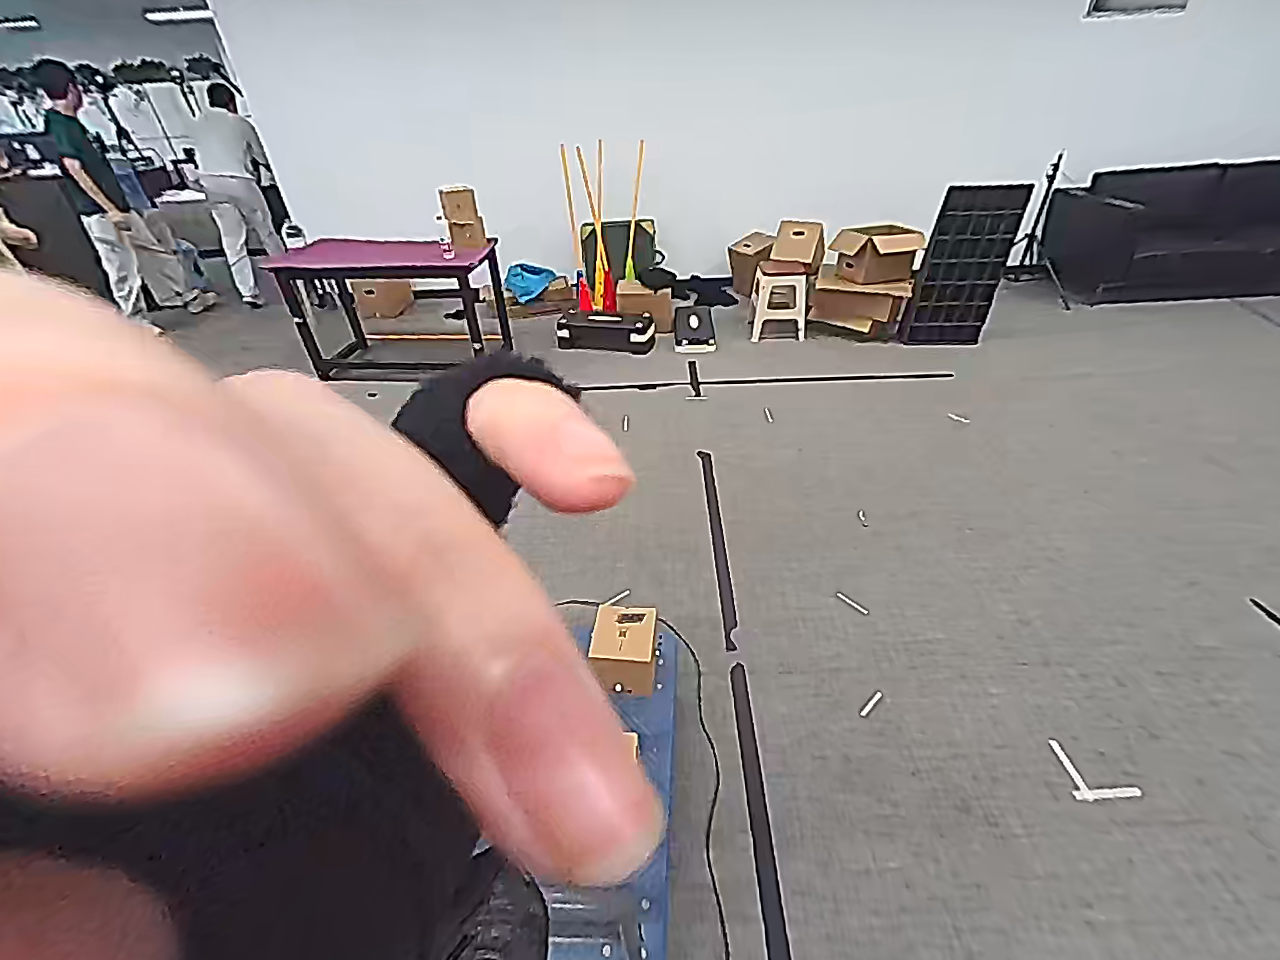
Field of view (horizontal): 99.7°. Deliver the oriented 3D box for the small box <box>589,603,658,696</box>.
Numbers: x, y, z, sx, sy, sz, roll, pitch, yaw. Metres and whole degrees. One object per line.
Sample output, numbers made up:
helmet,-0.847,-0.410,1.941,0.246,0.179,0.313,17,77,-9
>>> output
small box,-0.042,0.470,1.503,0.168,0.176,0.179,3,38,6
